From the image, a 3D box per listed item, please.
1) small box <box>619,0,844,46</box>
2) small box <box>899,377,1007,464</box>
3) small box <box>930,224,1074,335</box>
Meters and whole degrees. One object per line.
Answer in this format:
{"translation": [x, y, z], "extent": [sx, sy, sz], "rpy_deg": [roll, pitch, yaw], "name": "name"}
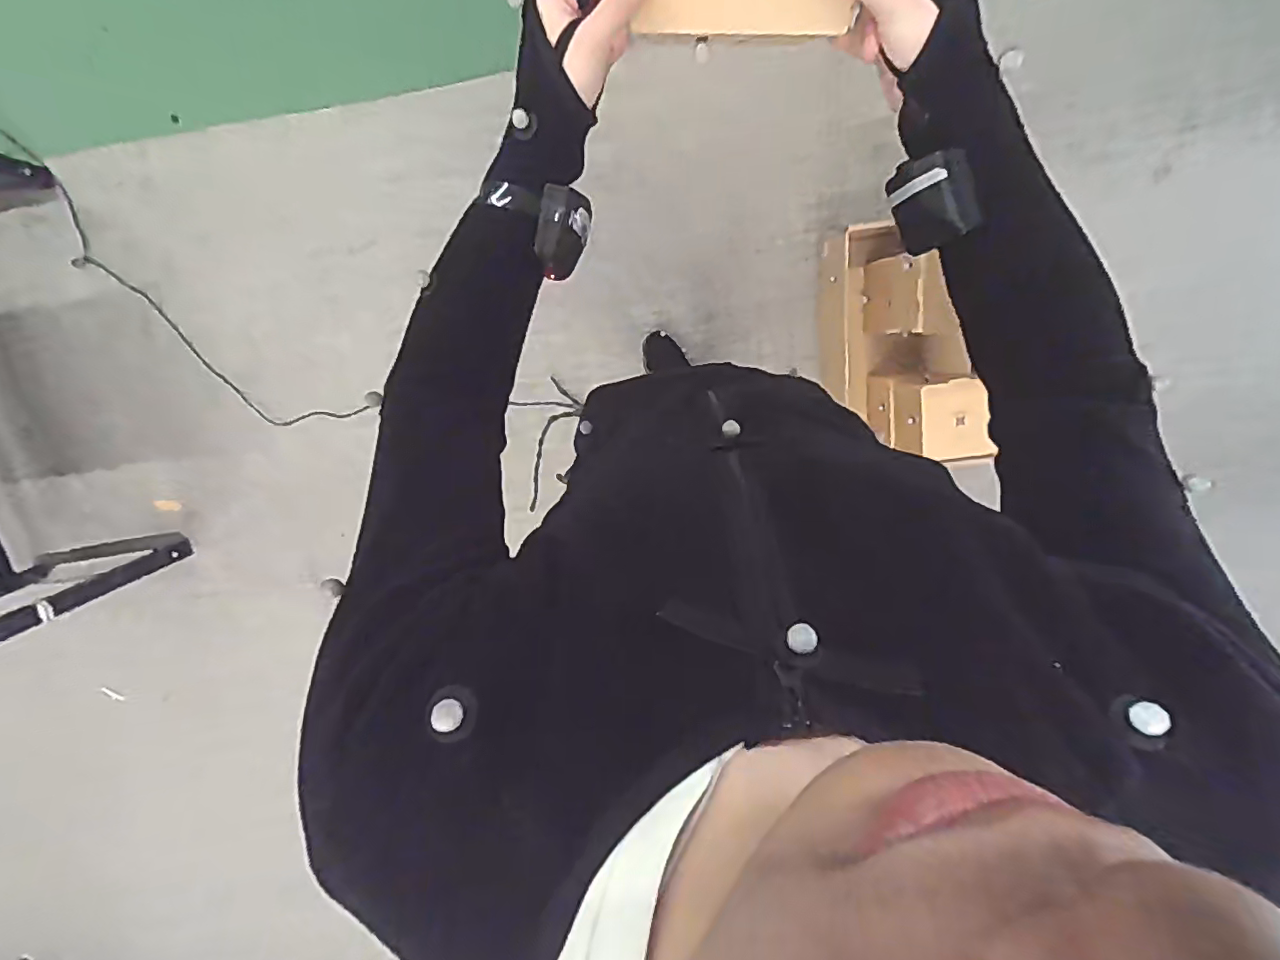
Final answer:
{"translation": [0.071, -0.449, 0.416], "extent": [0.168, 0.176, 0.179], "rpy_deg": [1, 126, 1], "name": "small box"}
{"translation": [0.722, -0.145, 1.263], "extent": [0.168, 0.176, 0.179], "rpy_deg": [-7, 103, 6], "name": "small box"}
{"translation": [0.680, -0.374, 1.037], "extent": [0.168, 0.176, 0.179], "rpy_deg": [-4, 104, 3], "name": "small box"}
